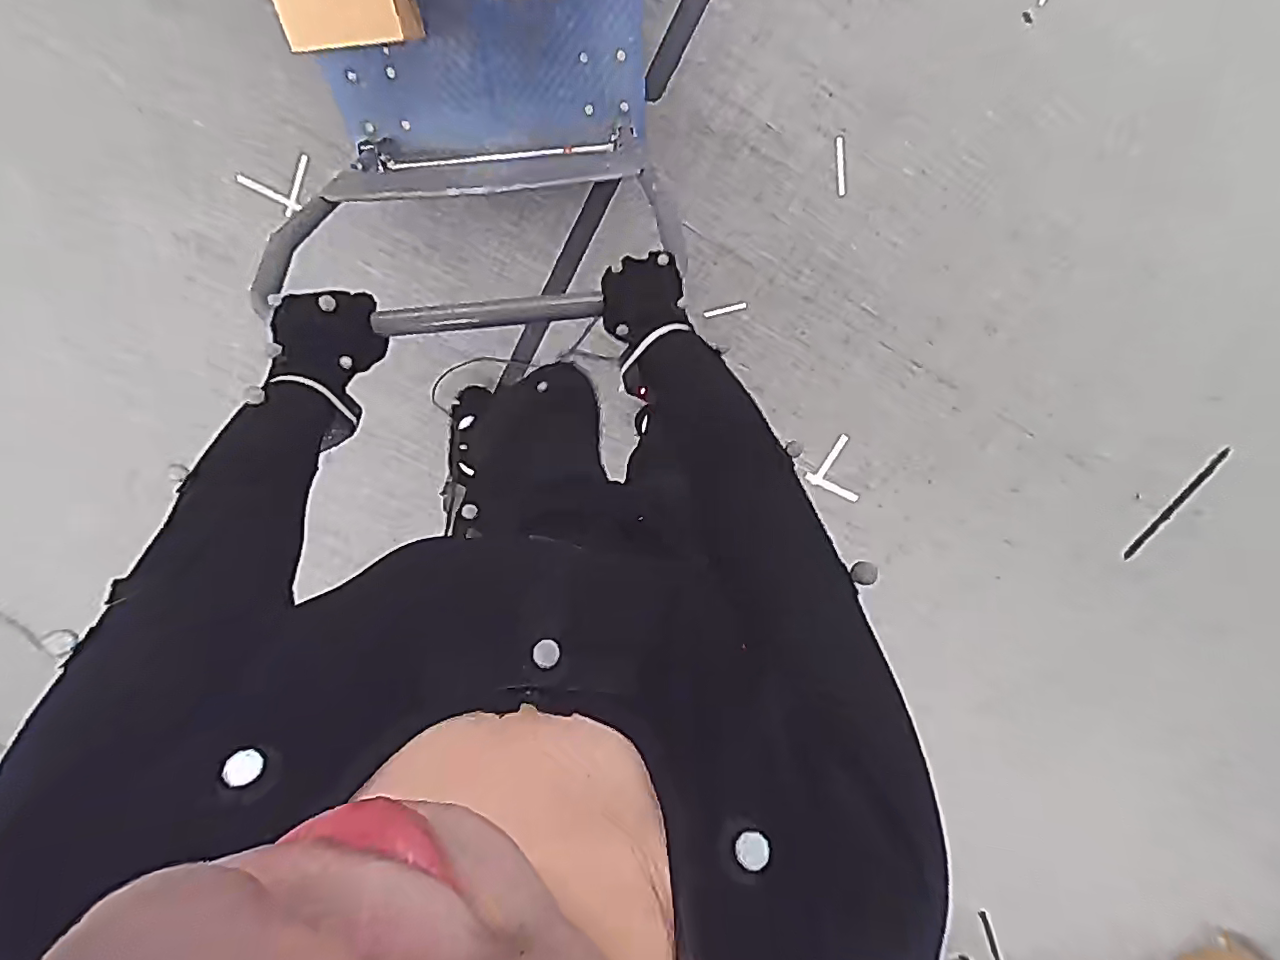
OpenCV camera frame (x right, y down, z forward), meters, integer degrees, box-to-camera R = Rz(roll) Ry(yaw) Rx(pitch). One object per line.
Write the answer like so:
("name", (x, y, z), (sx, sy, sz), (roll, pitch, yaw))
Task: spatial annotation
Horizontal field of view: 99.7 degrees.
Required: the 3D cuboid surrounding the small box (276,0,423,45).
("small box", (-0.461, -0.787, 0.835), (0.179, 0.176, 0.168), (-10, 130, -2))
